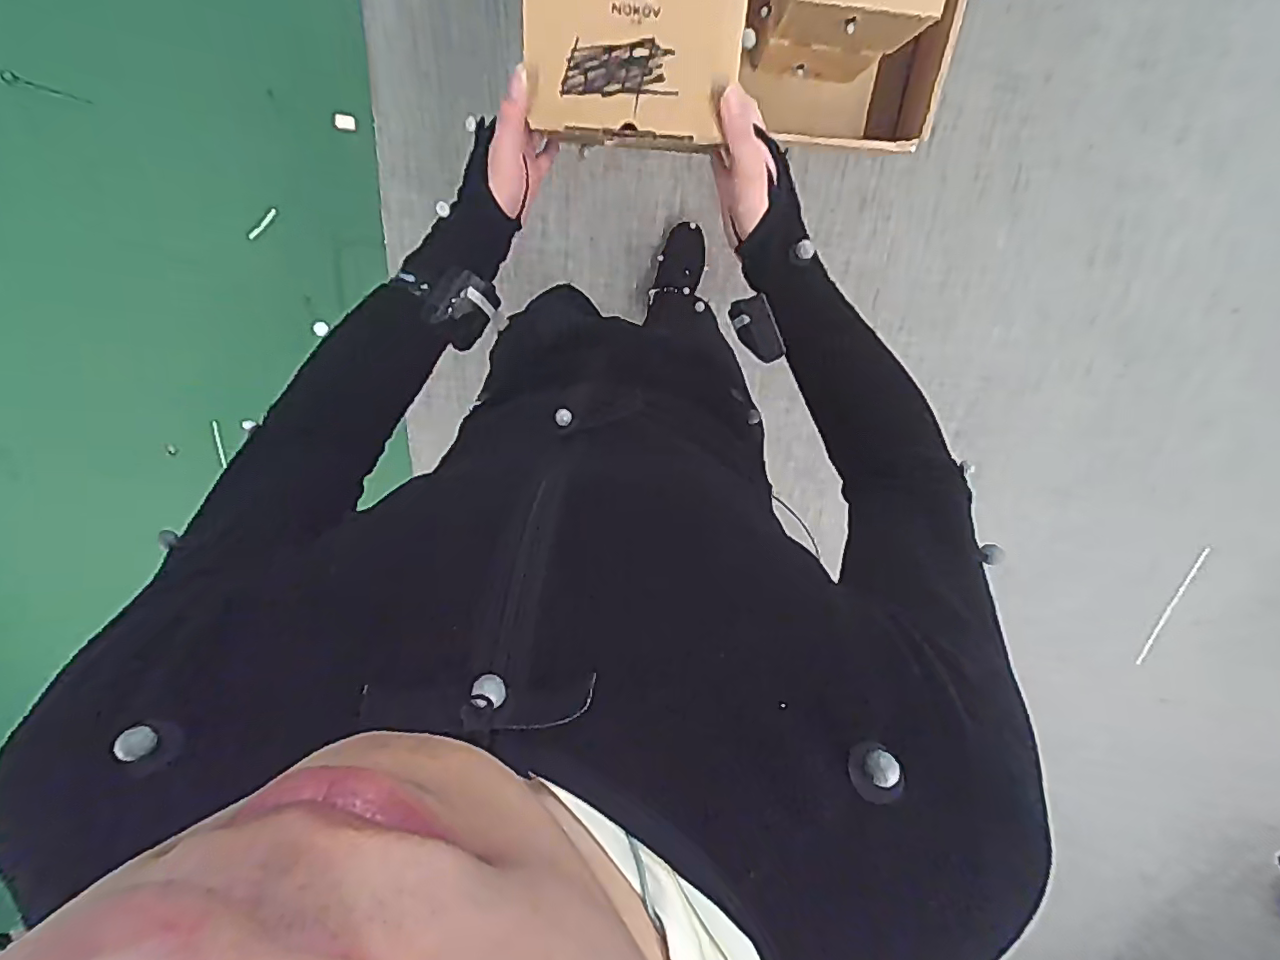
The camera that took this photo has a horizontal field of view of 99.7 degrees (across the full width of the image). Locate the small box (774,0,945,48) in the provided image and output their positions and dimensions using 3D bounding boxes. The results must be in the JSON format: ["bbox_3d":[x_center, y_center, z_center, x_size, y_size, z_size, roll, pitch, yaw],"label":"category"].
[{"bbox_3d":[0.271,-0.647,0.647,0.179,0.176,0.168,8,118,-1],"label":"small box"}]

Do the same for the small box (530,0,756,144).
[{"bbox_3d":[0.004,-0.392,0.452,0.168,0.176,0.179,3,117,-2],"label":"small box"}]
